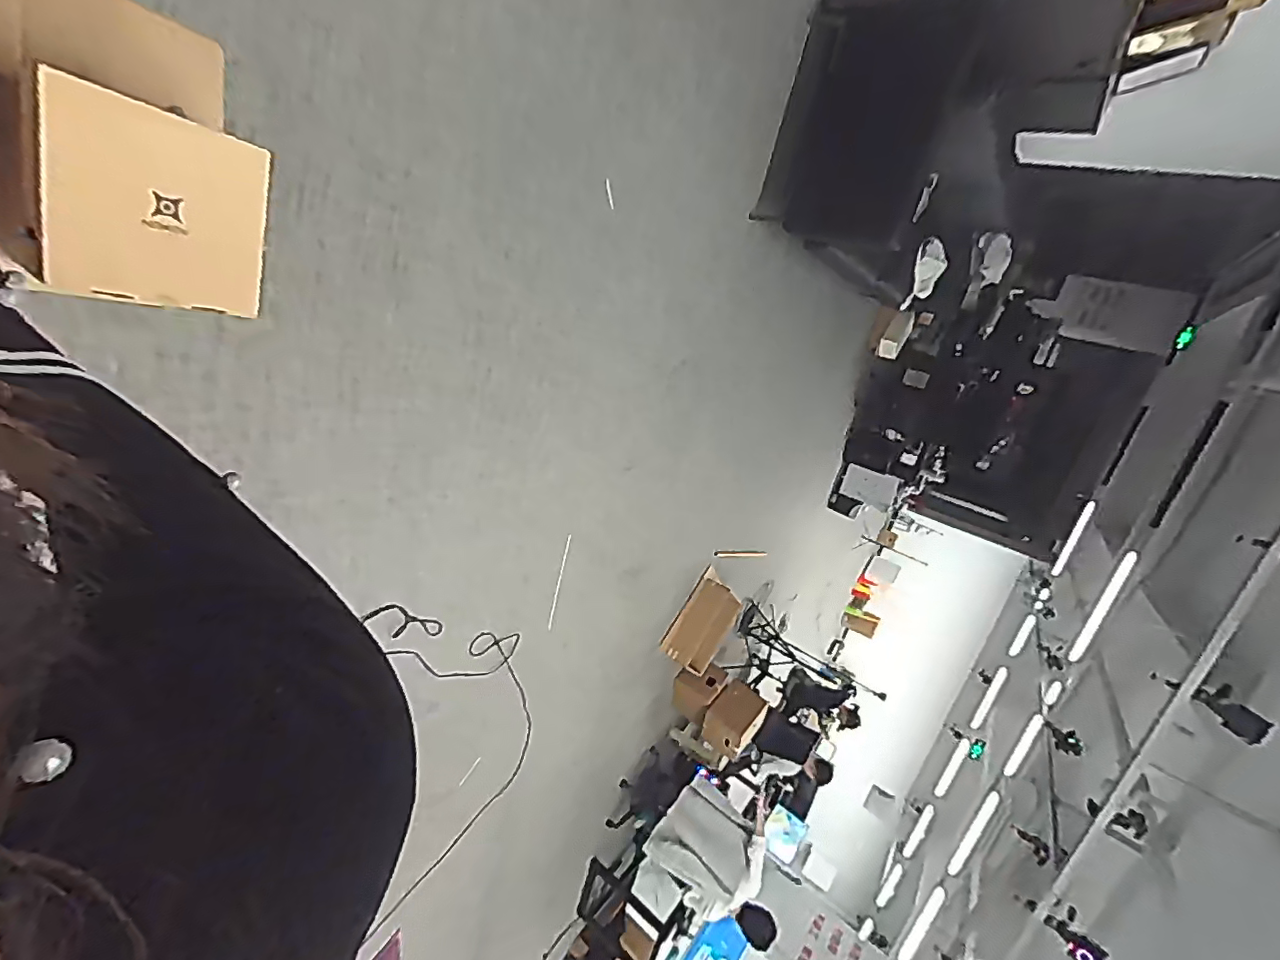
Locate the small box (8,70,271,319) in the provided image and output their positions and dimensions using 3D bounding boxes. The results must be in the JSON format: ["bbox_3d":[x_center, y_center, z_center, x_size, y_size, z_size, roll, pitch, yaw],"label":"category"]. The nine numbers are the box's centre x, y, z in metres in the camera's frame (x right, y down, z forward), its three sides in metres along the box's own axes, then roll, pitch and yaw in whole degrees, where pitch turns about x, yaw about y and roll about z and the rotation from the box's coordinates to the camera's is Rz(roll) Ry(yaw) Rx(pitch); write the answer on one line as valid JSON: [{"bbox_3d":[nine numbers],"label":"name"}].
[{"bbox_3d":[-0.516,-0.286,0.561,0.168,0.176,0.179,-7,118,-55],"label":"small box"}]
